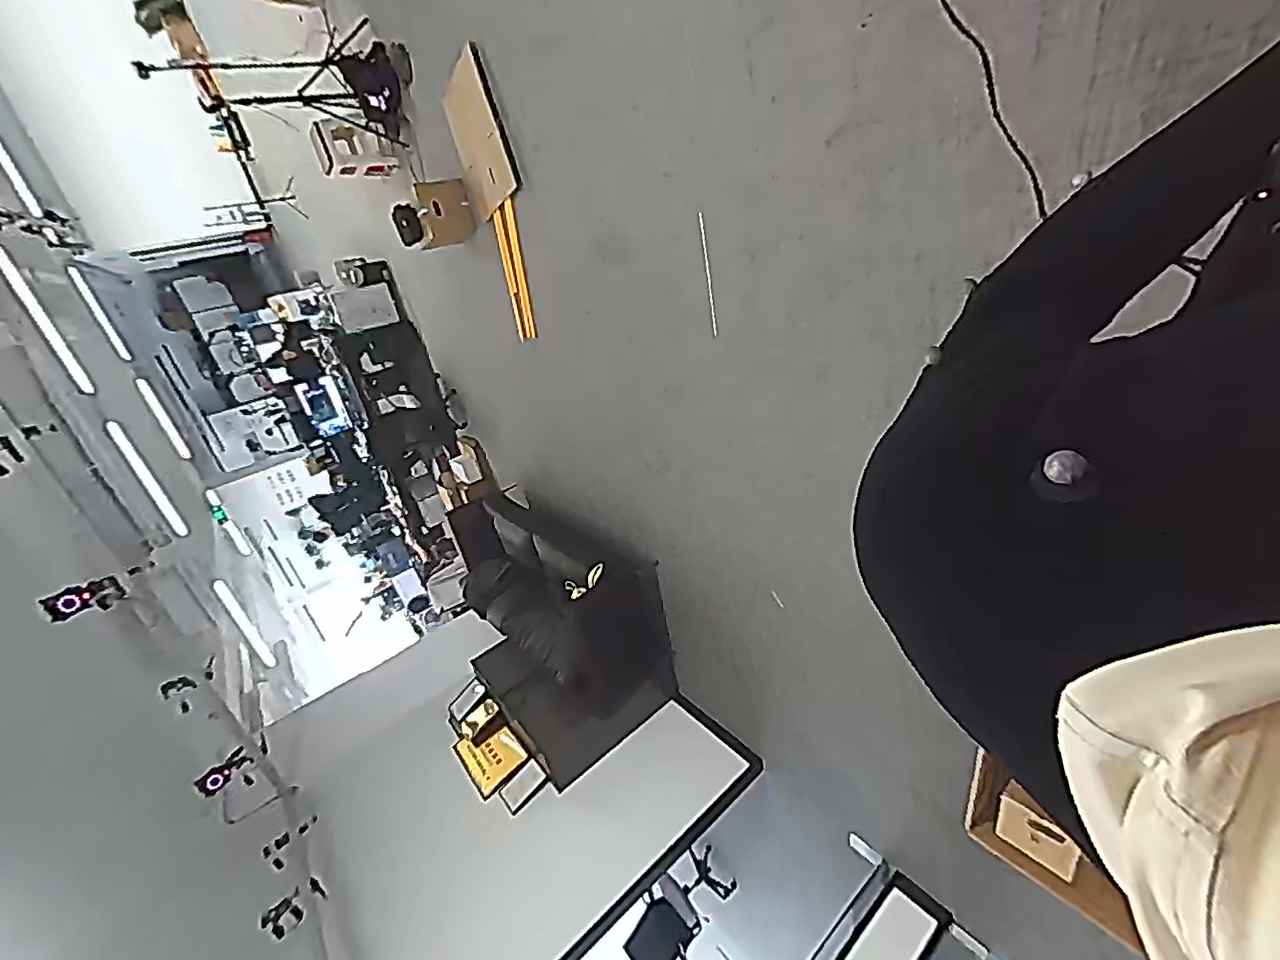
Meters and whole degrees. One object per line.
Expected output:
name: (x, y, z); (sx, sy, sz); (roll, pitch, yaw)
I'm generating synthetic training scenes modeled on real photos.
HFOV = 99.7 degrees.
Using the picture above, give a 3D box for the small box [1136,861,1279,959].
small box: (1.232, 0.992, 1.175); (0.168, 0.176, 0.179); (24, 133, 46)
